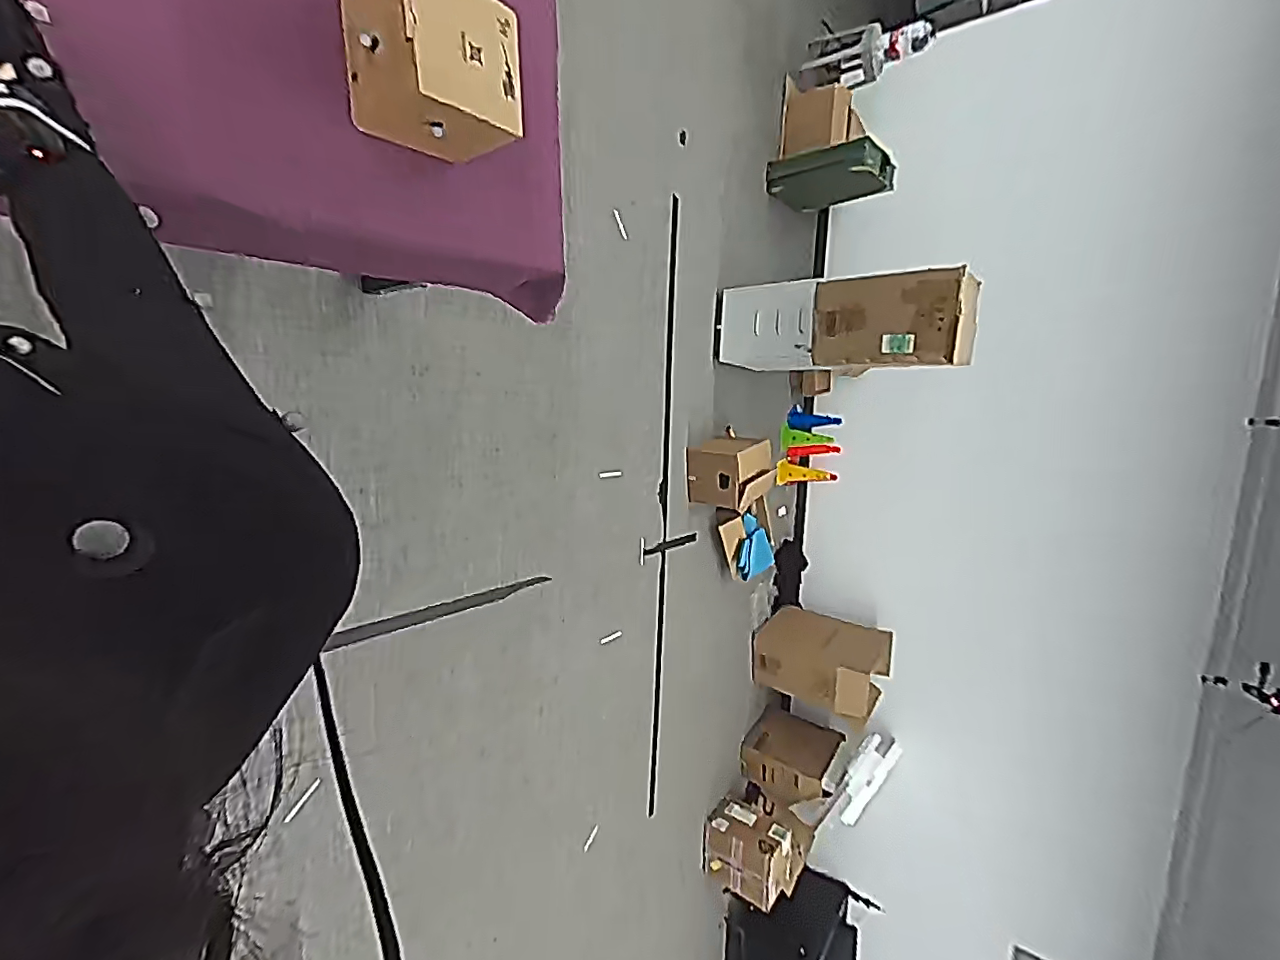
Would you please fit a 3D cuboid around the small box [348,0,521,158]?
[{"bbox_3d":[-0.296,-0.589,0.776,0.179,0.176,0.168,-14,108,-51],"label":"small box"}]
